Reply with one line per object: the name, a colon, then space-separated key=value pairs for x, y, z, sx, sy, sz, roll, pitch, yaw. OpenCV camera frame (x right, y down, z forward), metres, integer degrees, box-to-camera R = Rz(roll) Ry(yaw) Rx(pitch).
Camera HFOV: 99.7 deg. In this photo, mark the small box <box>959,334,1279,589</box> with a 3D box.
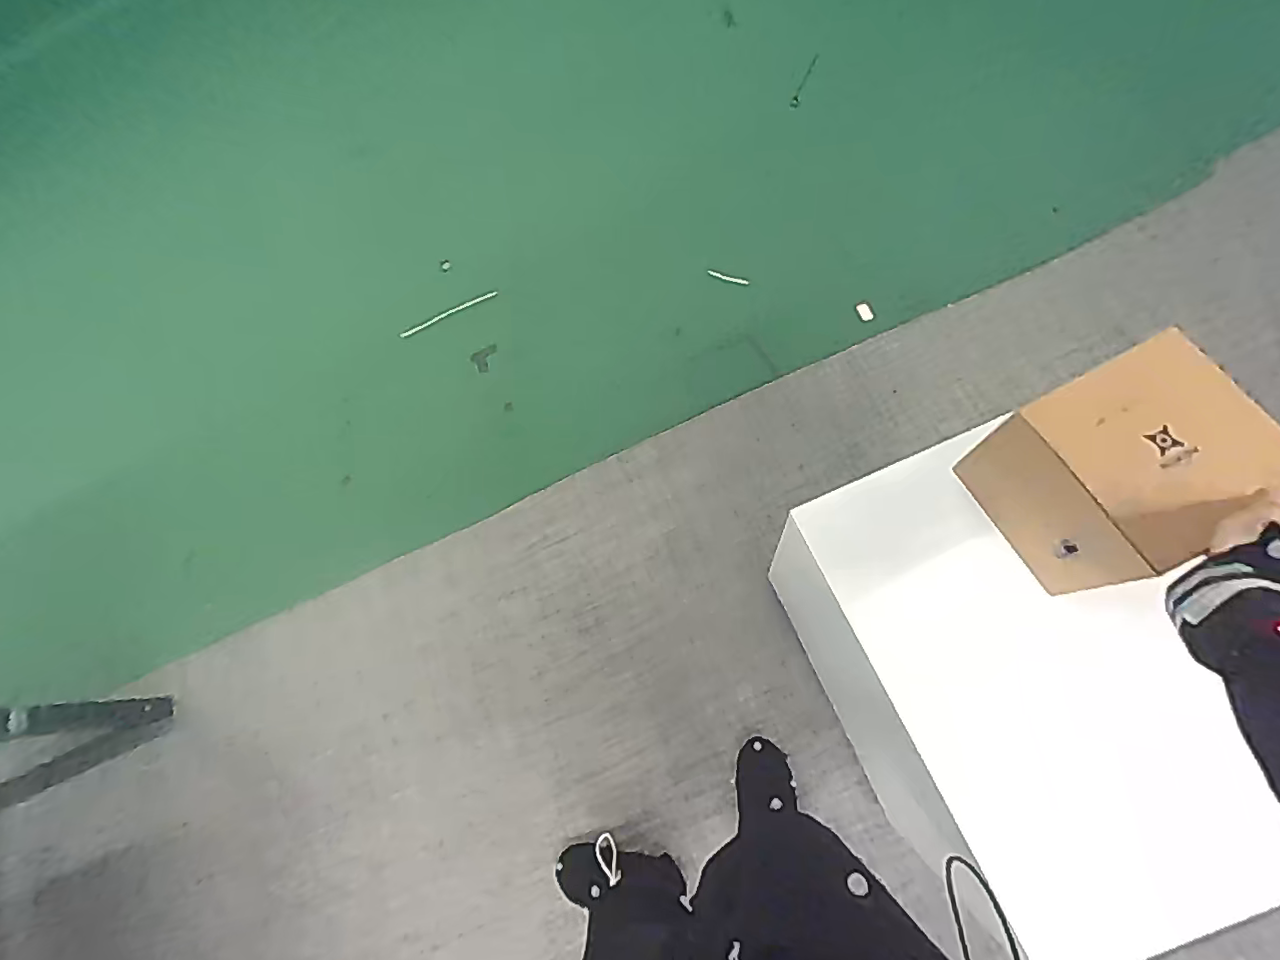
small box: x=0.470 y=-0.003 z=0.541 sx=0.168 sy=0.176 sz=0.179 roll=-28 pitch=69 yaw=0
